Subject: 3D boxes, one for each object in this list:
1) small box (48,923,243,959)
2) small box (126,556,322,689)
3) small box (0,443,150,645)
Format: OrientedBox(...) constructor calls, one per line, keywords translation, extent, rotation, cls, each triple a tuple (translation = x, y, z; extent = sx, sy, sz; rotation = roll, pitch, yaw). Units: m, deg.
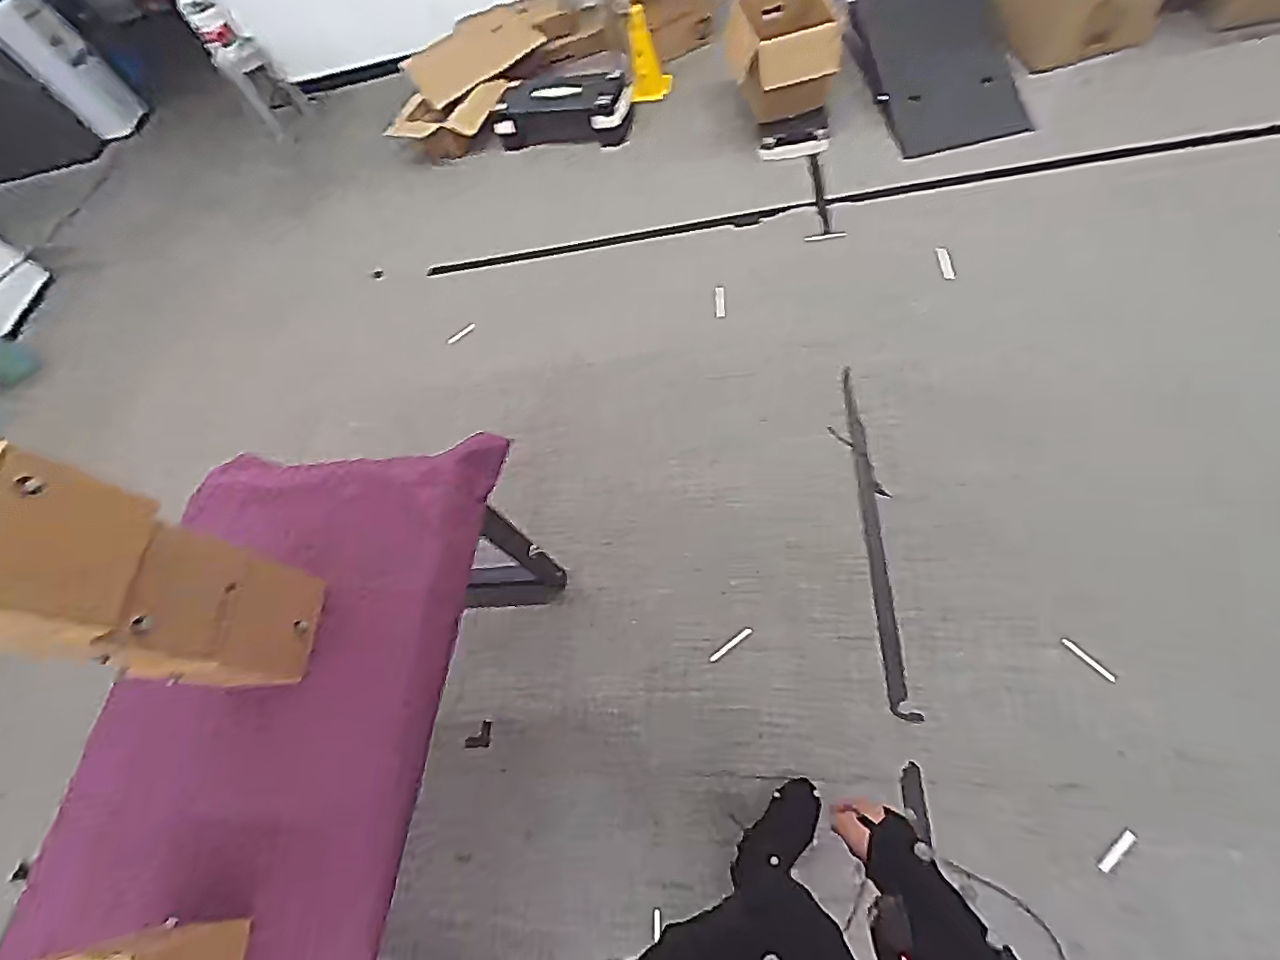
OrientedBox(translation=(-0.634, 0.677, 0.660), extent=(0.168, 0.176, 0.179), rotation=(-11, 61, 9), cls="small box")
OrientedBox(translation=(-0.667, 0.240, 0.894), extent=(0.168, 0.176, 0.179), rotation=(-7, 62, 11), cls="small box")
OrientedBox(translation=(-0.720, 0.083, 0.611), extent=(0.168, 0.176, 0.179), rotation=(-10, 61, 9), cls="small box")
